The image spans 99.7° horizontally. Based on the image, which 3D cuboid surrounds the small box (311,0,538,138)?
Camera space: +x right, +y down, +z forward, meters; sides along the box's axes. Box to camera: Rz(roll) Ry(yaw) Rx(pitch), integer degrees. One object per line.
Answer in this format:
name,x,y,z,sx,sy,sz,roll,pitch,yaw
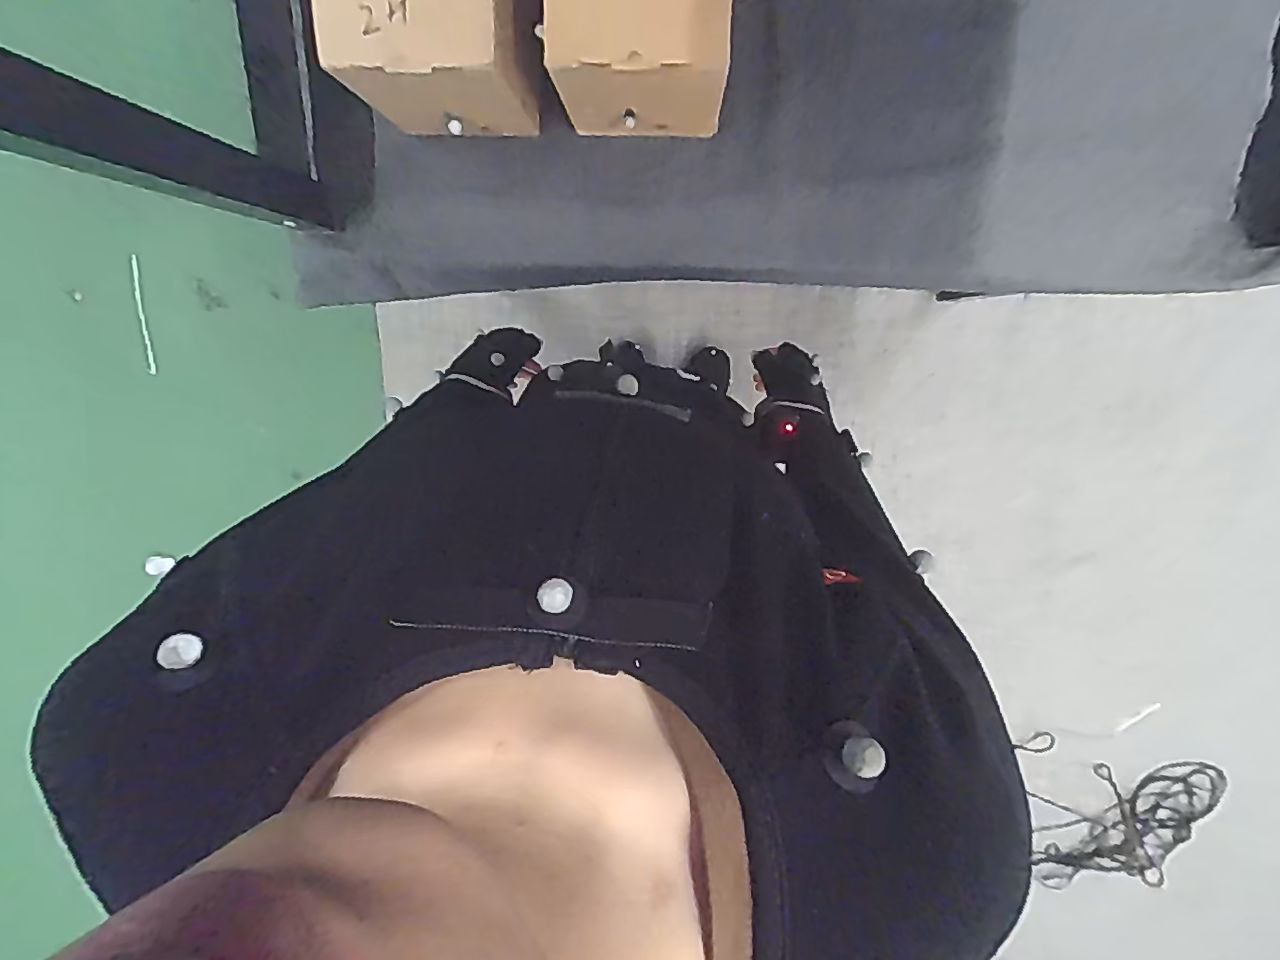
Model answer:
small box,-0.202,-0.475,0.543,0.168,0.176,0.179,3,104,3
